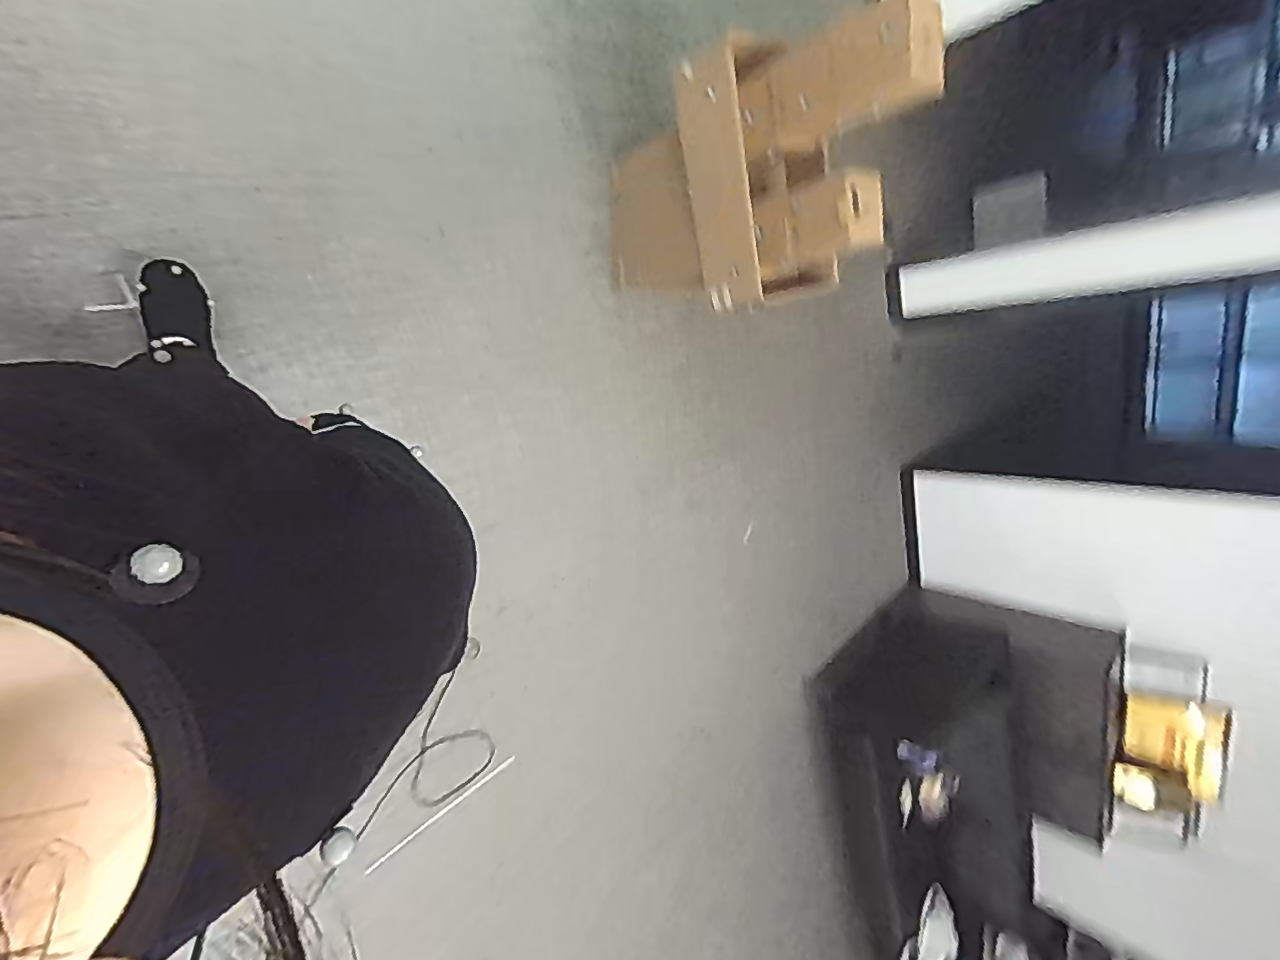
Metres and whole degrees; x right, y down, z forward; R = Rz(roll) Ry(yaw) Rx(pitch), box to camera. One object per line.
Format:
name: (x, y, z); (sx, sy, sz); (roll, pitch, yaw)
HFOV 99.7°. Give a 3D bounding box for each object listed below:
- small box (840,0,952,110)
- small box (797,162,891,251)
small box: (0.546, -0.936, 1.161); (0.168, 0.176, 0.179); (-20, 109, -35)
small box: (0.516, -0.692, 1.383); (0.179, 0.176, 0.168); (-22, 109, -36)
